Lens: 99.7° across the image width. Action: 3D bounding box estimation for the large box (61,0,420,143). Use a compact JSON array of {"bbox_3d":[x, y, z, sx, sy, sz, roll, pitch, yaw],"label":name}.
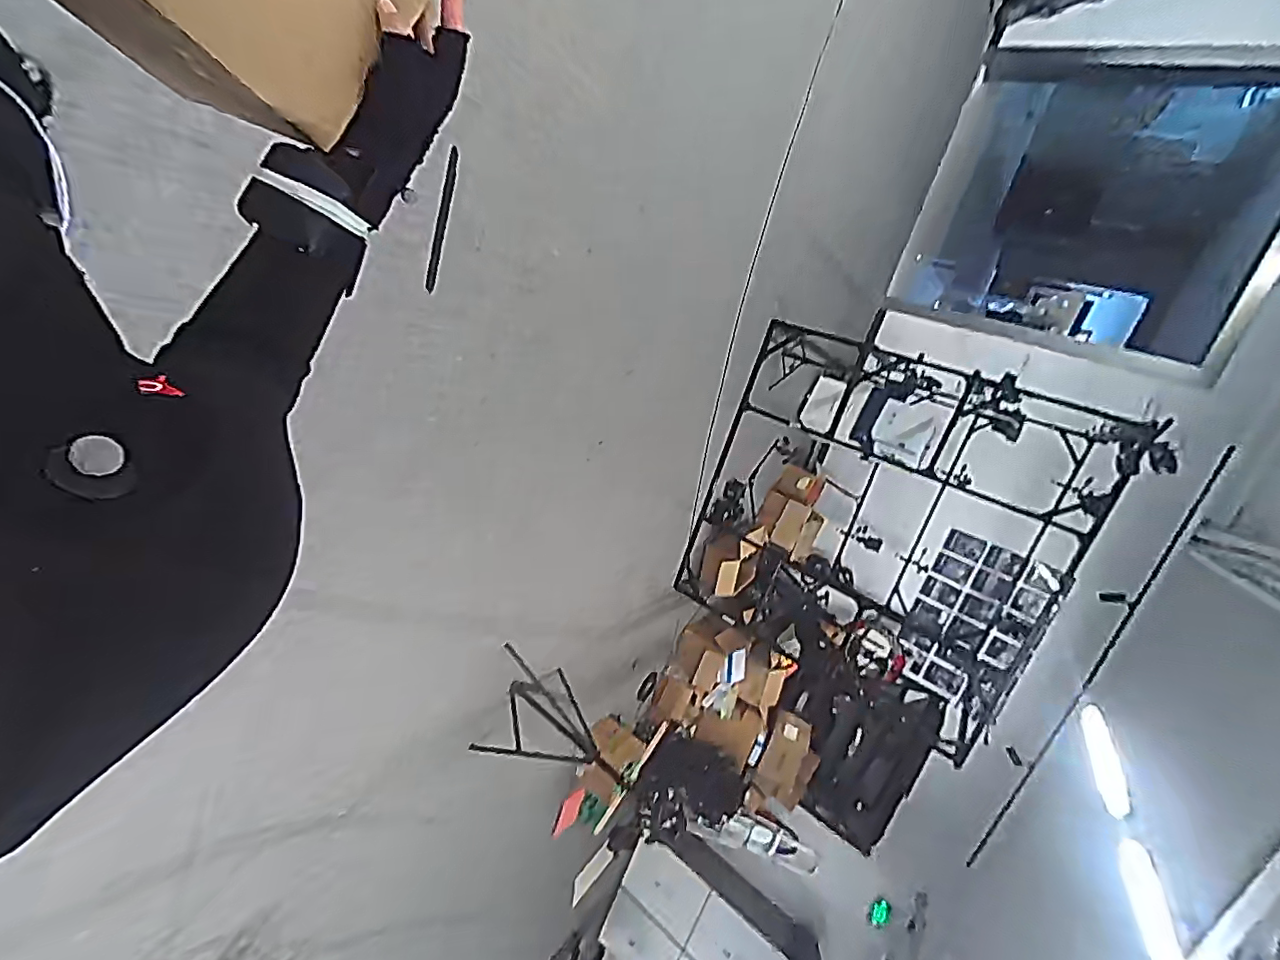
[{"bbox_3d":[-0.356,-0.504,0.316,0.320,0.320,0.408,-57,153,0],"label":"large box"}]
